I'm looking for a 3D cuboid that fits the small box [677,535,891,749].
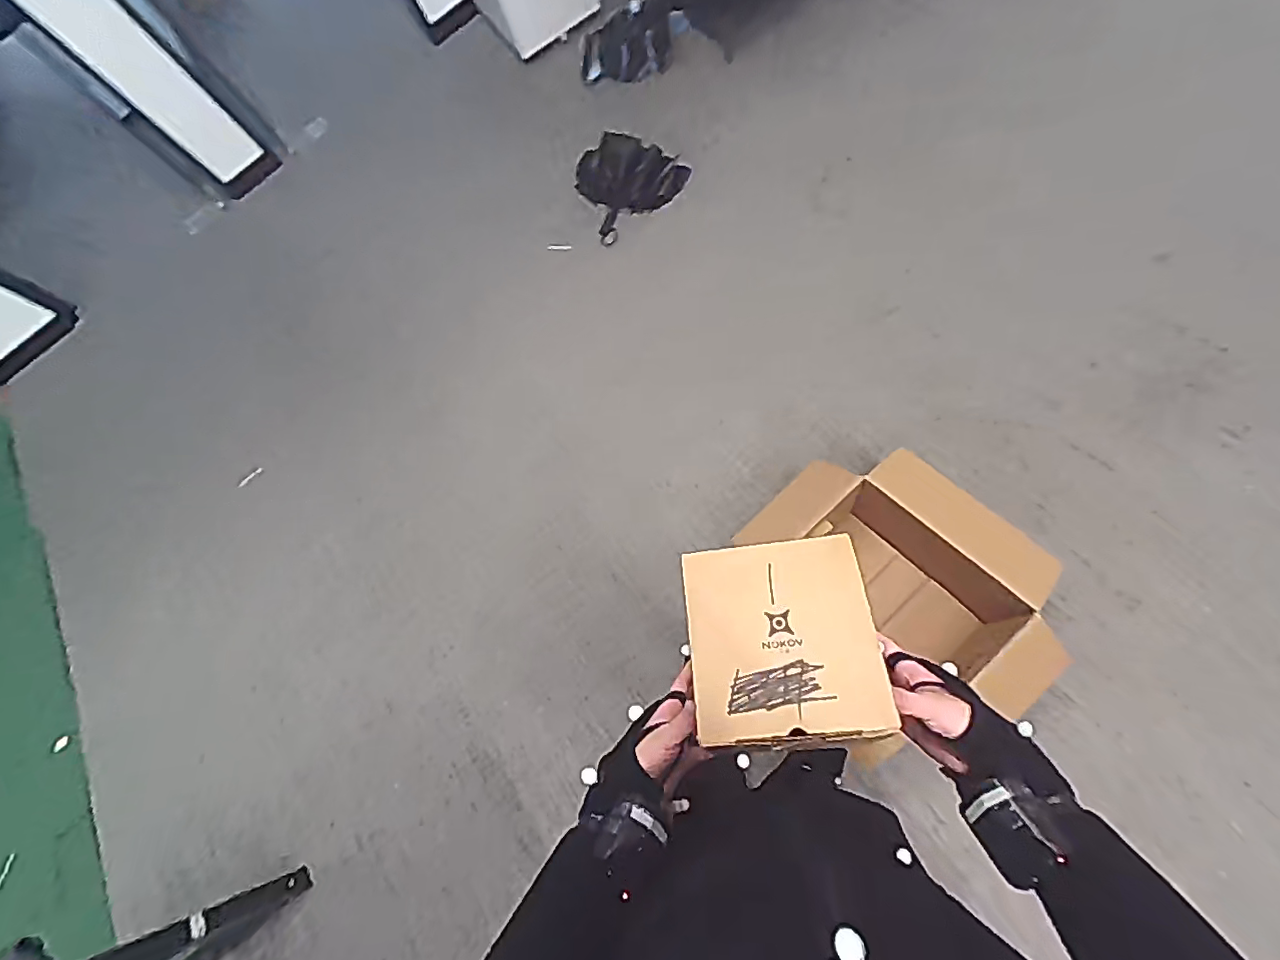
[{"bbox_3d":[0.136,0.176,0.555,0.168,0.176,0.179,-8,60,7],"label":"small box"}]
